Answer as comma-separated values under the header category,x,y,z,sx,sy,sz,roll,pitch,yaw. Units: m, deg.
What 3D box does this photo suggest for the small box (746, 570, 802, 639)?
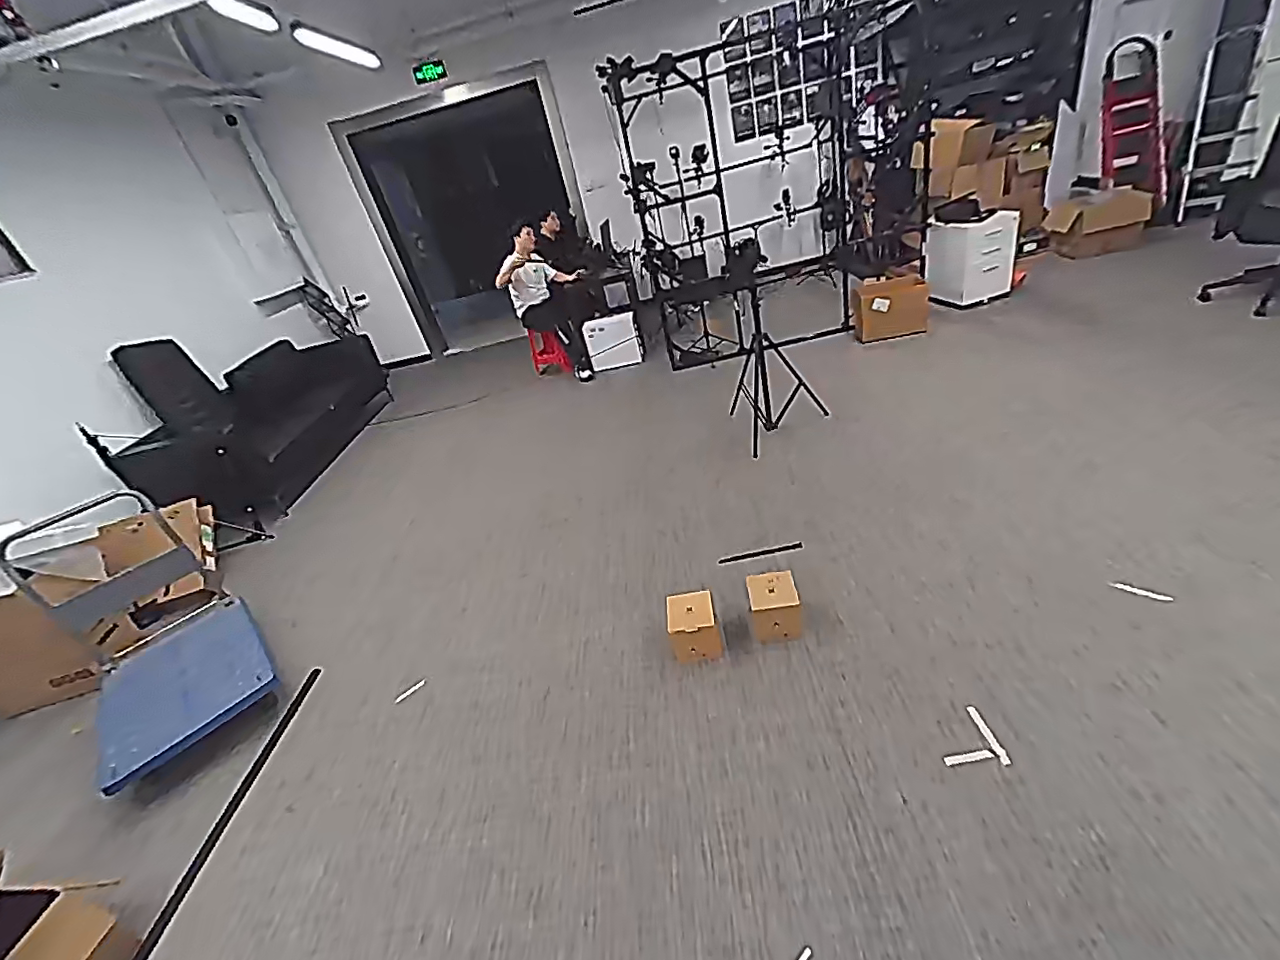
category,x,y,z,sx,sy,sz,roll,pitch,yaw
small box,0.484,0.457,1.958,0.168,0.176,0.179,-9,30,9

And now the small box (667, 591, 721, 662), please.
category,x,y,z,sx,sy,sz,roll,pitch,yaw
small box,0.196,0.534,1.970,0.168,0.176,0.179,-12,31,7
